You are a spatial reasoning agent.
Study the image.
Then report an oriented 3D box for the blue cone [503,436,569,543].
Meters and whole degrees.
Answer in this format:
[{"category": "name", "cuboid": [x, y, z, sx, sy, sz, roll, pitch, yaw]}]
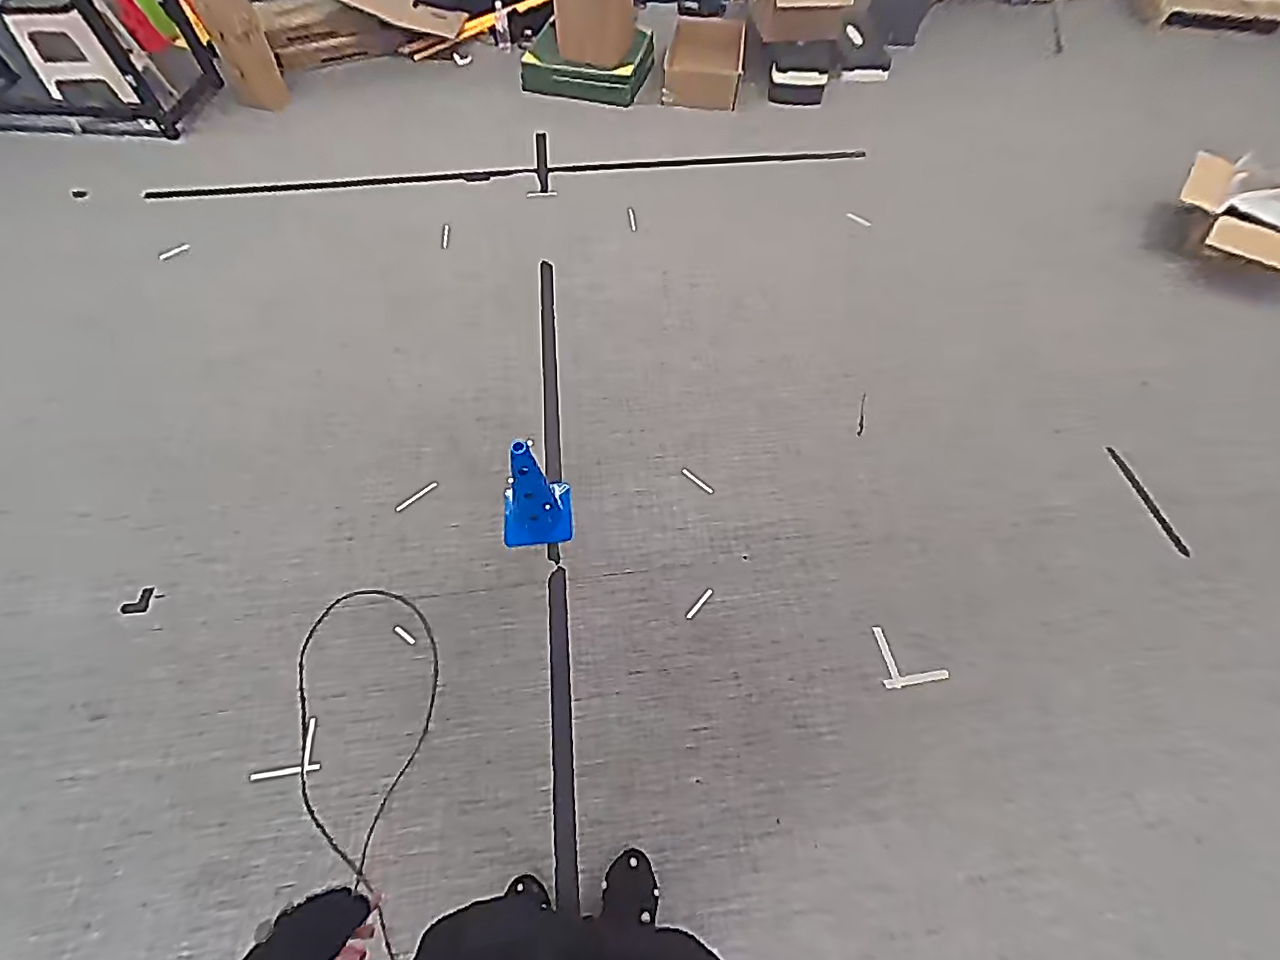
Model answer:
[{"category": "blue cone", "cuboid": [-0.304, 0.011, 1.453, 0.193, 0.380, 0.192, -7, 60, -5]}]
